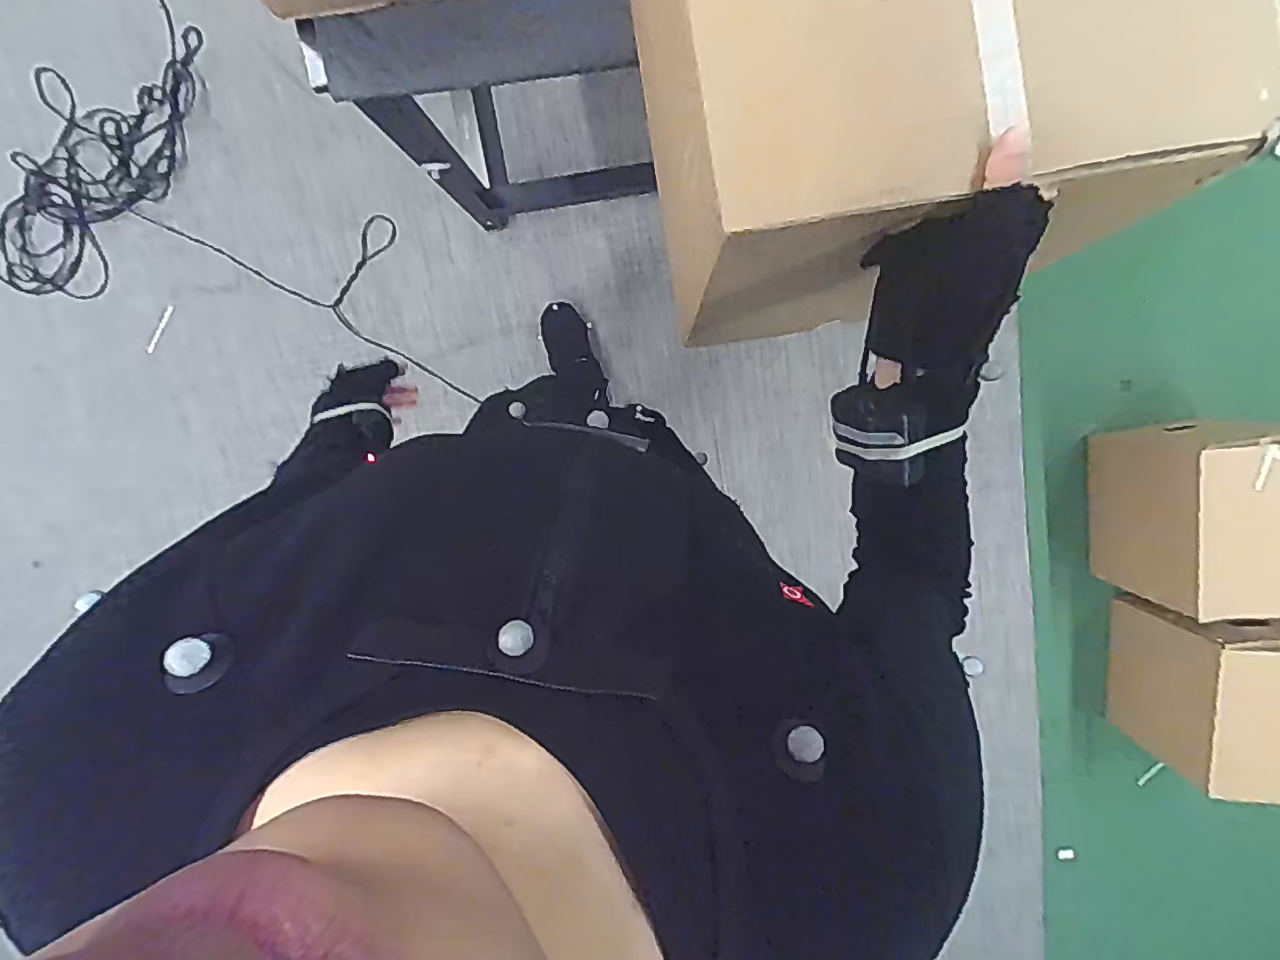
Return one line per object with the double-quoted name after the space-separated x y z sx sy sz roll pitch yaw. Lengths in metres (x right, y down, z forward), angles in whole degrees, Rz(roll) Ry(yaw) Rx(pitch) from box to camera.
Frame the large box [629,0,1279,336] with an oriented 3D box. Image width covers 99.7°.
0.167 -0.366 0.434 0.320 0.320 0.408 -9 93 2 "large box"
